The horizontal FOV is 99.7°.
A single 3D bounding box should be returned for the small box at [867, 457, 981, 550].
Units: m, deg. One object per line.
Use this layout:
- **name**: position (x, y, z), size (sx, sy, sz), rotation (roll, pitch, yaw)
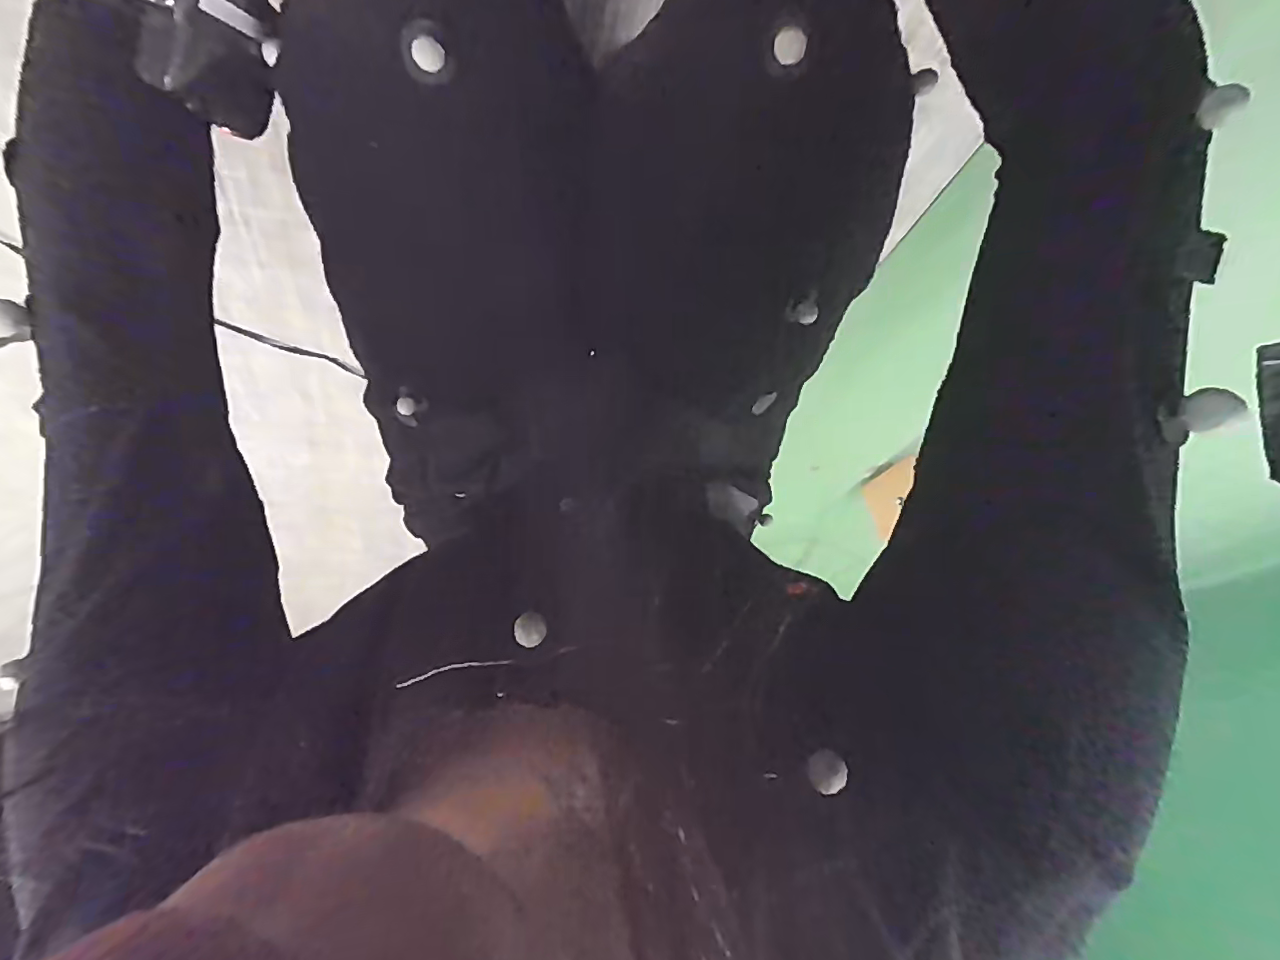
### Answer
- **small box**: position (0.704, 0.063, 1.368), size (0.168, 0.176, 0.179), rotation (5, 148, -22)
